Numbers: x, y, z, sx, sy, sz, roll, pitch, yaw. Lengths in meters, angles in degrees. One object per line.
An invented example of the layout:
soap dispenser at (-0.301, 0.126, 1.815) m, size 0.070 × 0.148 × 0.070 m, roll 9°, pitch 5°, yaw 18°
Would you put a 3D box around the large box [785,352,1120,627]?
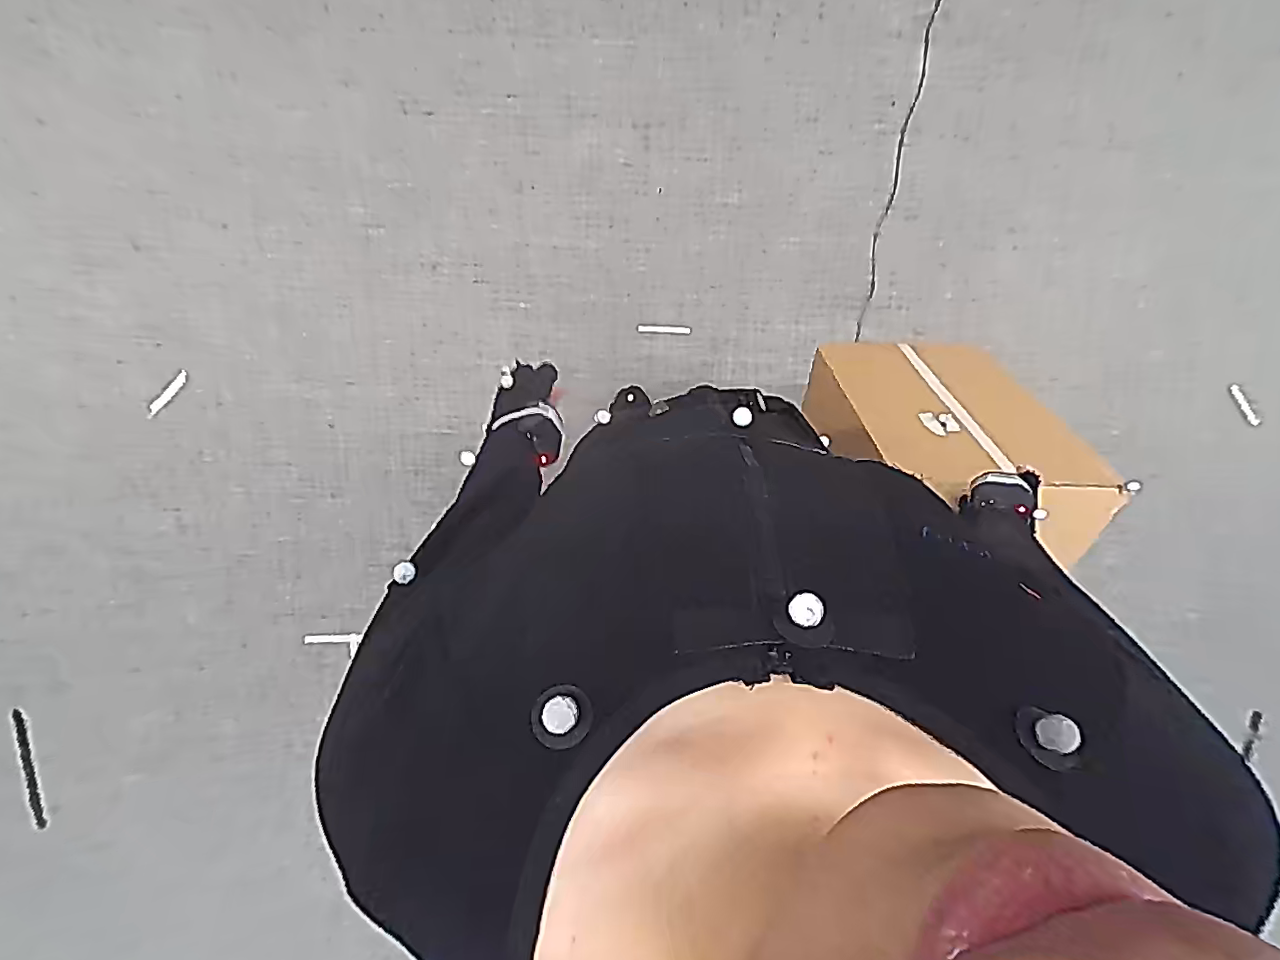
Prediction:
large box at (0.484, 0.005, 0.966) m, size 0.320 × 0.408 × 0.320 m, roll 0°, pitch 131°, yaw -2°
